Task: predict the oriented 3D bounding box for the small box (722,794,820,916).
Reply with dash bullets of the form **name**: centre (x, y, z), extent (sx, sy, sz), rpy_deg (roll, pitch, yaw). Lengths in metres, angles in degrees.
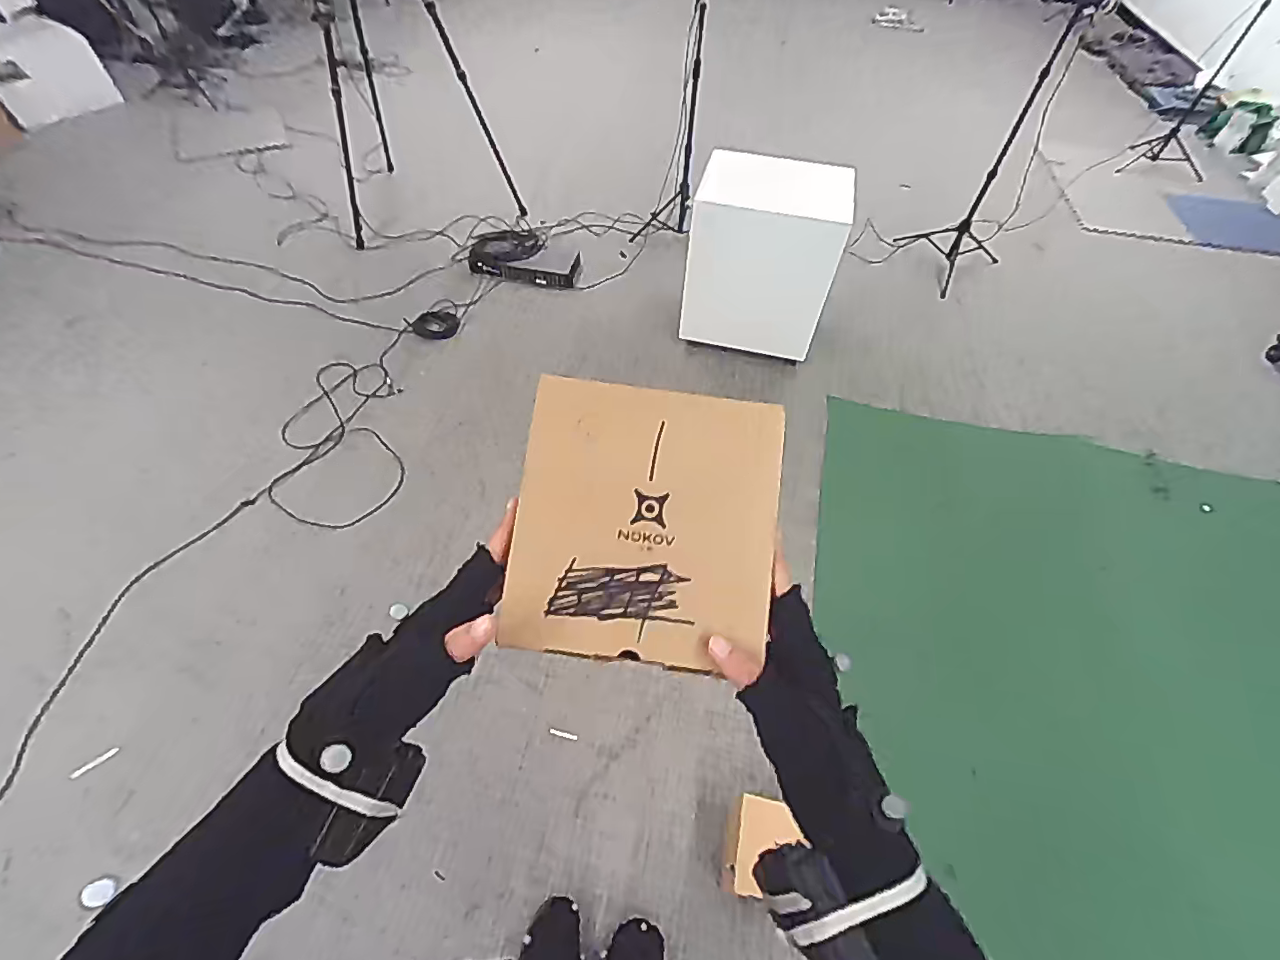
- **small box**: centre (0.275, 0.797, 1.153), extent (0.168, 0.176, 0.179), rpy_deg (11, 54, 6)
